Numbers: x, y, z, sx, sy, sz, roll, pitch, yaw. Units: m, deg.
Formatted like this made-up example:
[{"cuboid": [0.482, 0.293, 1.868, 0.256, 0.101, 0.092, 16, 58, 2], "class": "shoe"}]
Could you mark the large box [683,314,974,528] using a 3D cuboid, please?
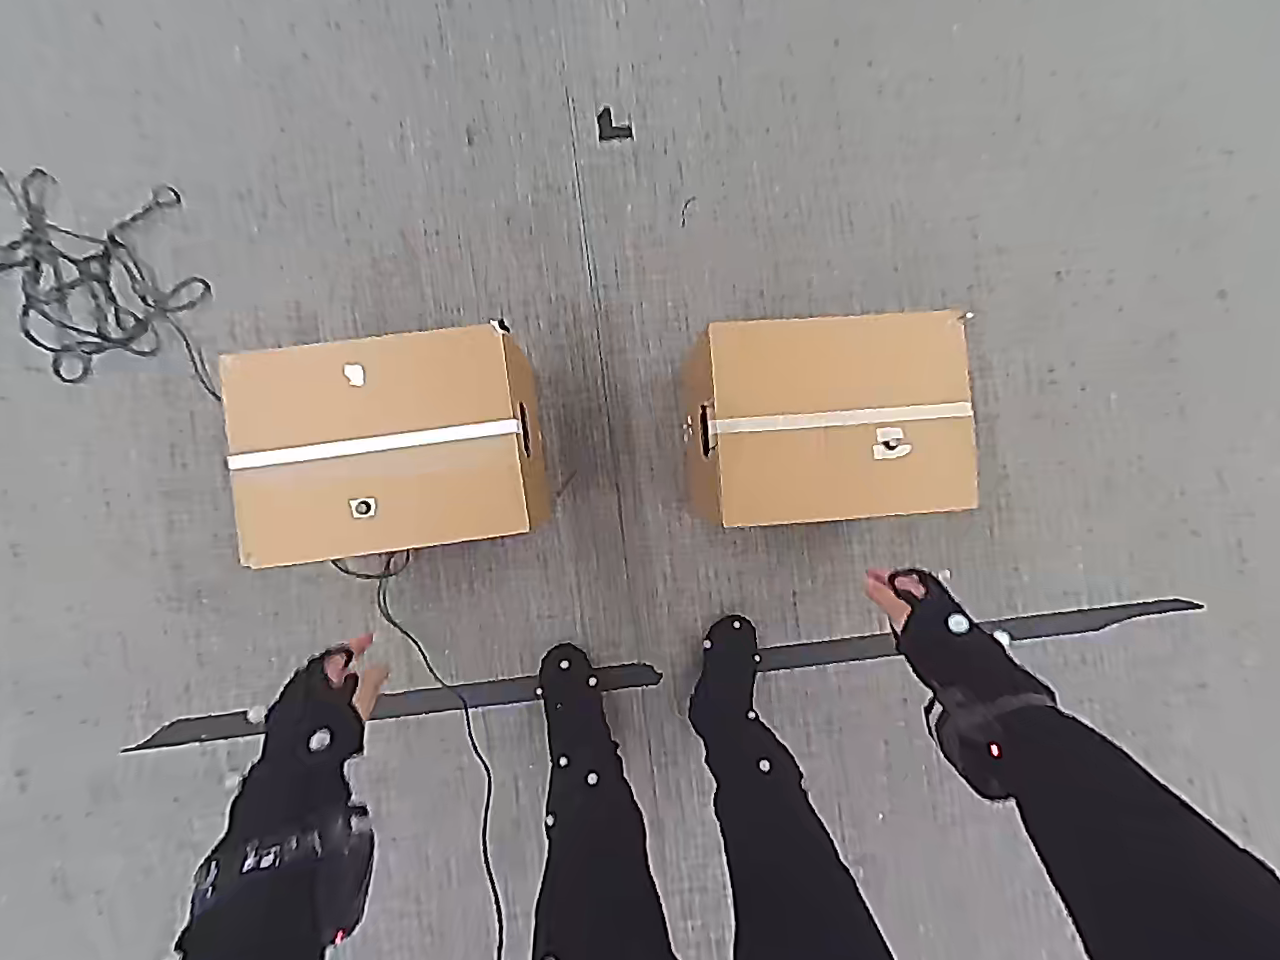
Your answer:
[{"cuboid": [0.307, -0.091, 0.986, 0.408, 0.320, 0.320, -4, 90, -4], "class": "large box"}]
